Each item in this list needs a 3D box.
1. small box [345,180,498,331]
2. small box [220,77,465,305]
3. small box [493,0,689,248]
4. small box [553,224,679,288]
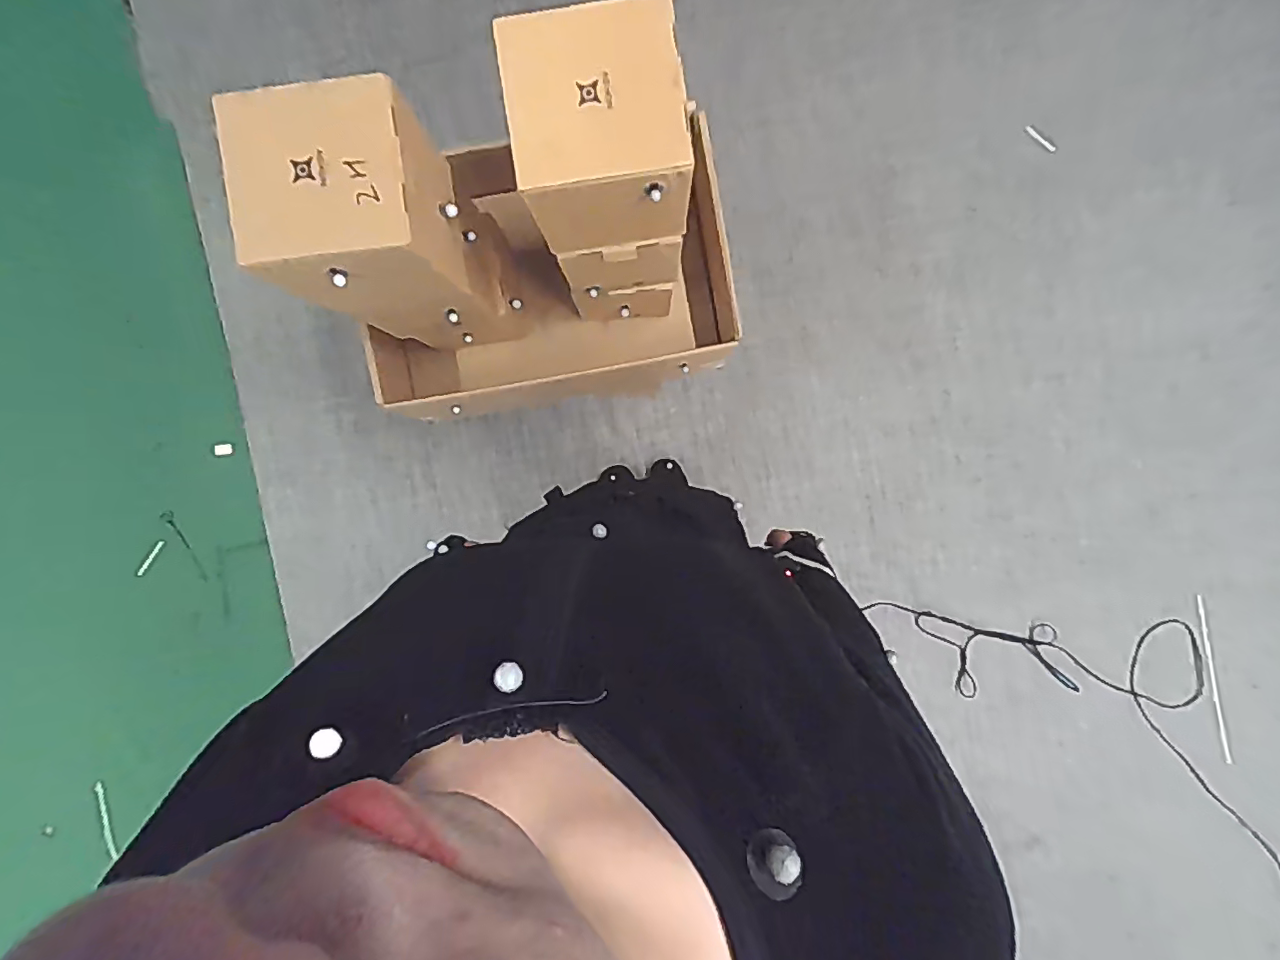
[{"bbox_3d":[-0.315,-0.322,0.777,0.168,0.176,0.179,-9,92,1],"label":"small box"},{"bbox_3d":[-0.319,-0.307,0.613,0.179,0.176,0.168,-6,93,1],"label":"small box"},{"bbox_3d":[-0.045,-0.378,0.604,0.179,0.176,0.168,-8,92,1],"label":"small box"},{"bbox_3d":[-0.036,-0.385,0.766,0.168,0.176,0.179,-7,92,2],"label":"small box"}]
